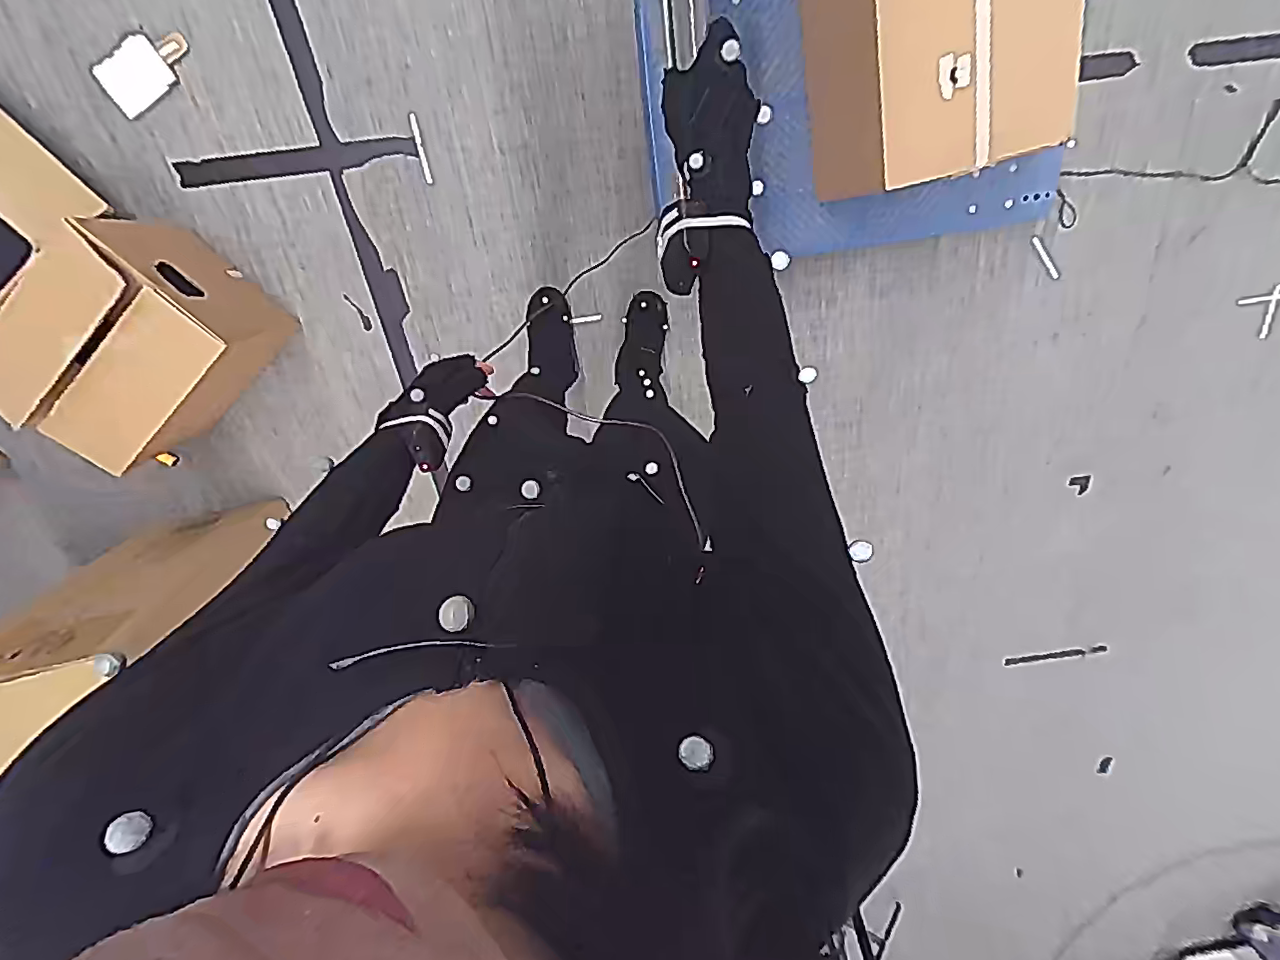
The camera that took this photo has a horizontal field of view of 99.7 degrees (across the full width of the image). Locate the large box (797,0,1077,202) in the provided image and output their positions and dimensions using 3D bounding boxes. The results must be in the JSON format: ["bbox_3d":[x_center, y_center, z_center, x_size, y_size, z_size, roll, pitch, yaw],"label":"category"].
[{"bbox_3d":[0.493,-0.750,0.943,0.320,0.320,0.408,-14,114,3],"label":"large box"}]
